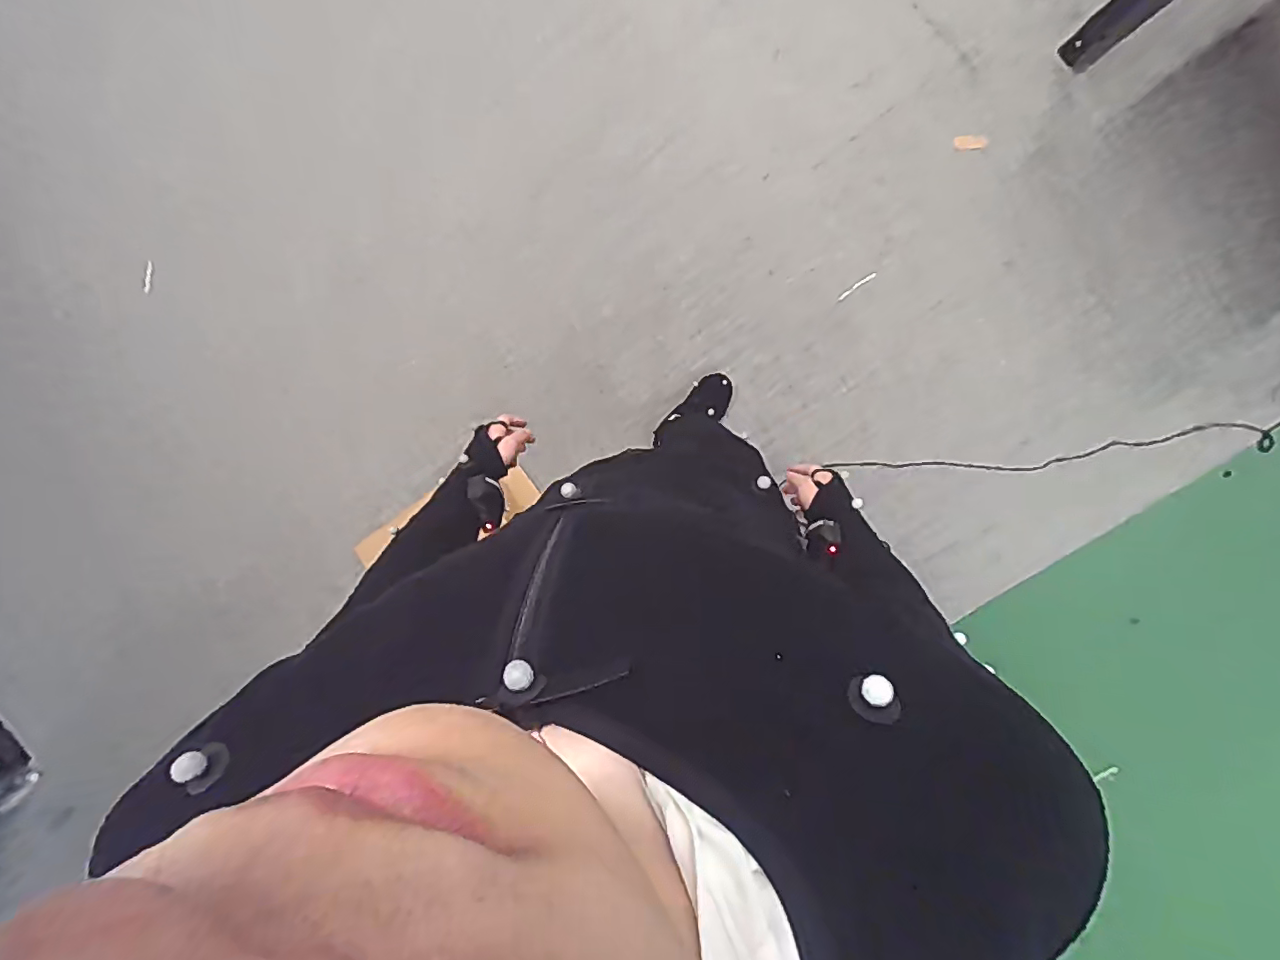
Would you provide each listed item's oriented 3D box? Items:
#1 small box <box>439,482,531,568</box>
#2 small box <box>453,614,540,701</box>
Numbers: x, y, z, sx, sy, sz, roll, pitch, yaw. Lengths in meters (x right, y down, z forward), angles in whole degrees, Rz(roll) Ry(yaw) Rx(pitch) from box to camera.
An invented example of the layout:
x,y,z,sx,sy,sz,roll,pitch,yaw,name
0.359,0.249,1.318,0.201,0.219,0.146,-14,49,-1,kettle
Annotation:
x,y,z,sx,sy,sz,roll,pitch,yaw,name
-0.446,0.124,1.588,0.168,0.176,0.179,-34,94,7,small box
-0.428,0.525,1.636,0.168,0.176,0.179,-27,94,7,small box
